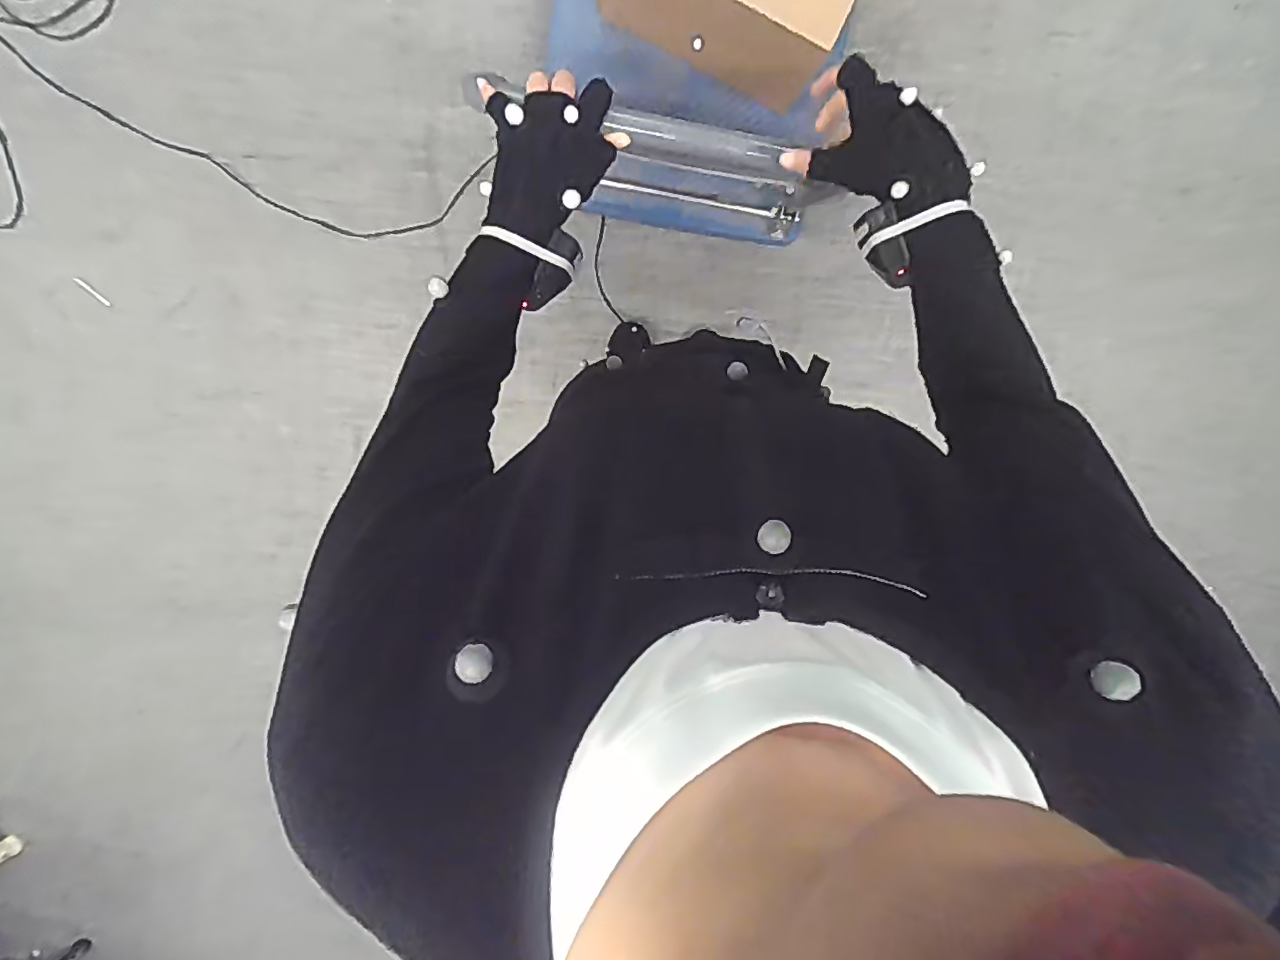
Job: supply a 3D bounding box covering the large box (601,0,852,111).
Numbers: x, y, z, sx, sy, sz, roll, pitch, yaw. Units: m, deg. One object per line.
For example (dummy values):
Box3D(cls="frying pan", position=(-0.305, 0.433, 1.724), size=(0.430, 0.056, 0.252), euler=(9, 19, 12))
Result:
Box3D(cls="large box", position=(0.166, -0.897, 0.887), size=(0.408, 0.320, 0.320), euler=(24, 108, -7))
